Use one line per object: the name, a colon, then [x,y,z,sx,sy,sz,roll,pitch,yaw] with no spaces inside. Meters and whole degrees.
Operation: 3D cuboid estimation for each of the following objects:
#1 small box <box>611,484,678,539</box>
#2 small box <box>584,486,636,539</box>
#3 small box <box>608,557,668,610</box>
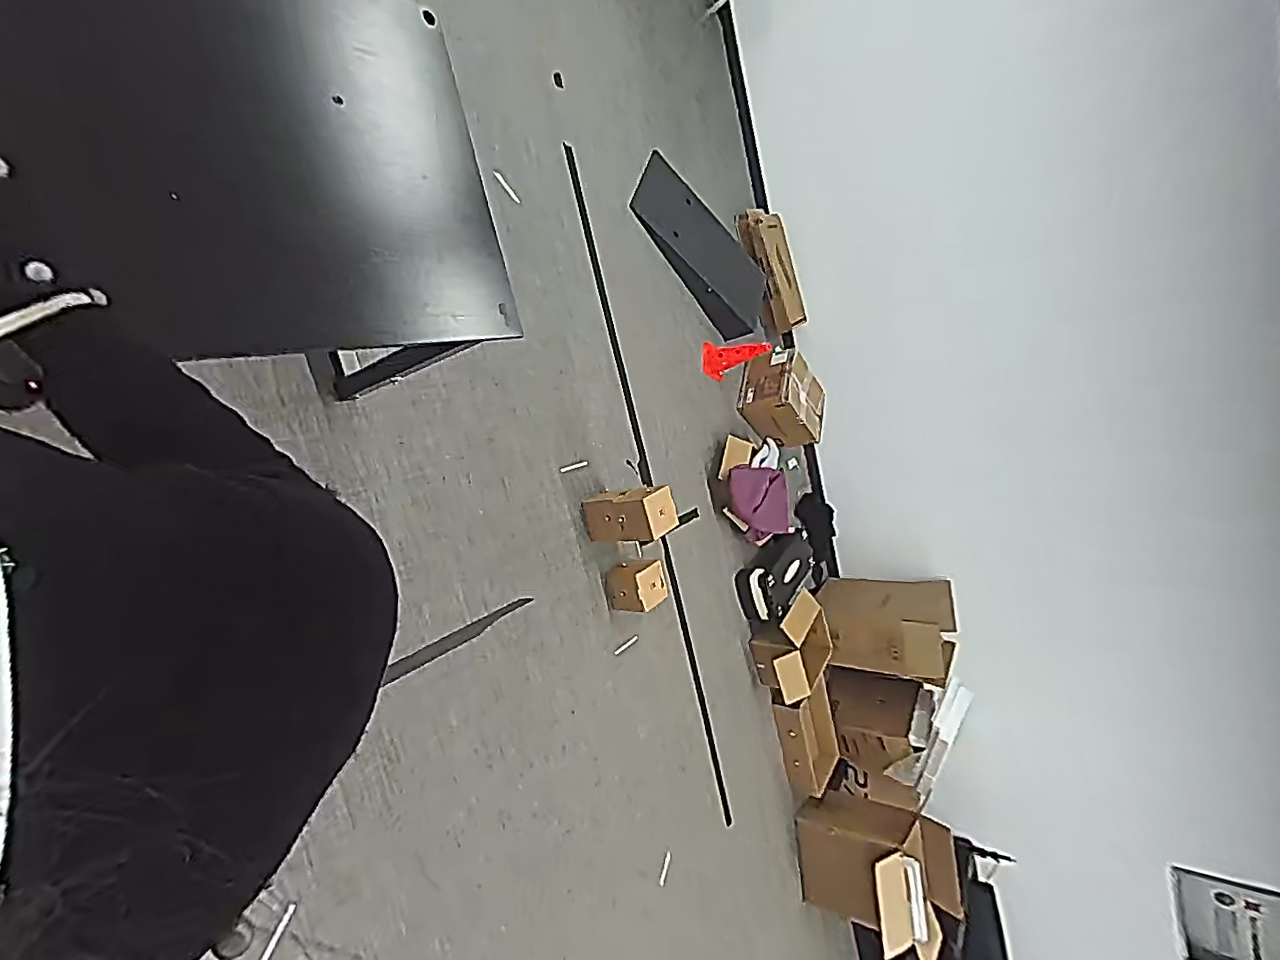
small box: [0.018,0.123,2.092,0.179,0.176,0.168,-28,104,-48]
small box: [-0.107,0.134,2.196,0.168,0.176,0.179,-25,104,-49]
small box: [-0.015,0.433,2.268,0.179,0.176,0.168,-22,101,-49]
